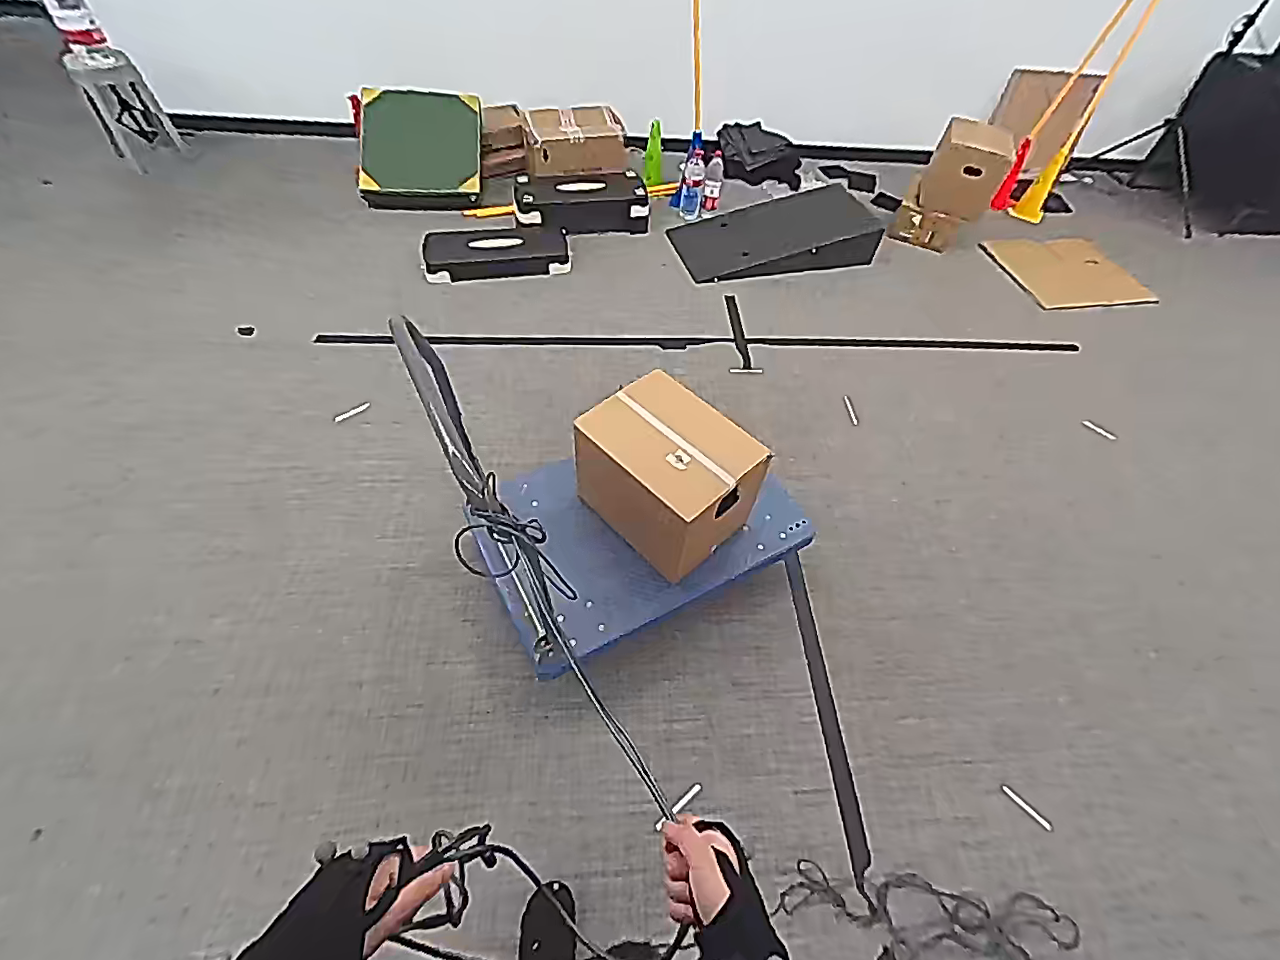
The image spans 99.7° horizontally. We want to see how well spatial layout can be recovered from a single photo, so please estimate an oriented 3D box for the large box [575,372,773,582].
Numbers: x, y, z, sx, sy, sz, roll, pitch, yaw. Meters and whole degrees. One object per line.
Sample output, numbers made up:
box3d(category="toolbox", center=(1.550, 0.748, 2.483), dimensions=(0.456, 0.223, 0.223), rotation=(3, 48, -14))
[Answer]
box3d(category="large box", center=(0.069, -0.011, 1.448), dimensions=(0.320, 0.320, 0.408), rotation=(-37, 65, -26))
